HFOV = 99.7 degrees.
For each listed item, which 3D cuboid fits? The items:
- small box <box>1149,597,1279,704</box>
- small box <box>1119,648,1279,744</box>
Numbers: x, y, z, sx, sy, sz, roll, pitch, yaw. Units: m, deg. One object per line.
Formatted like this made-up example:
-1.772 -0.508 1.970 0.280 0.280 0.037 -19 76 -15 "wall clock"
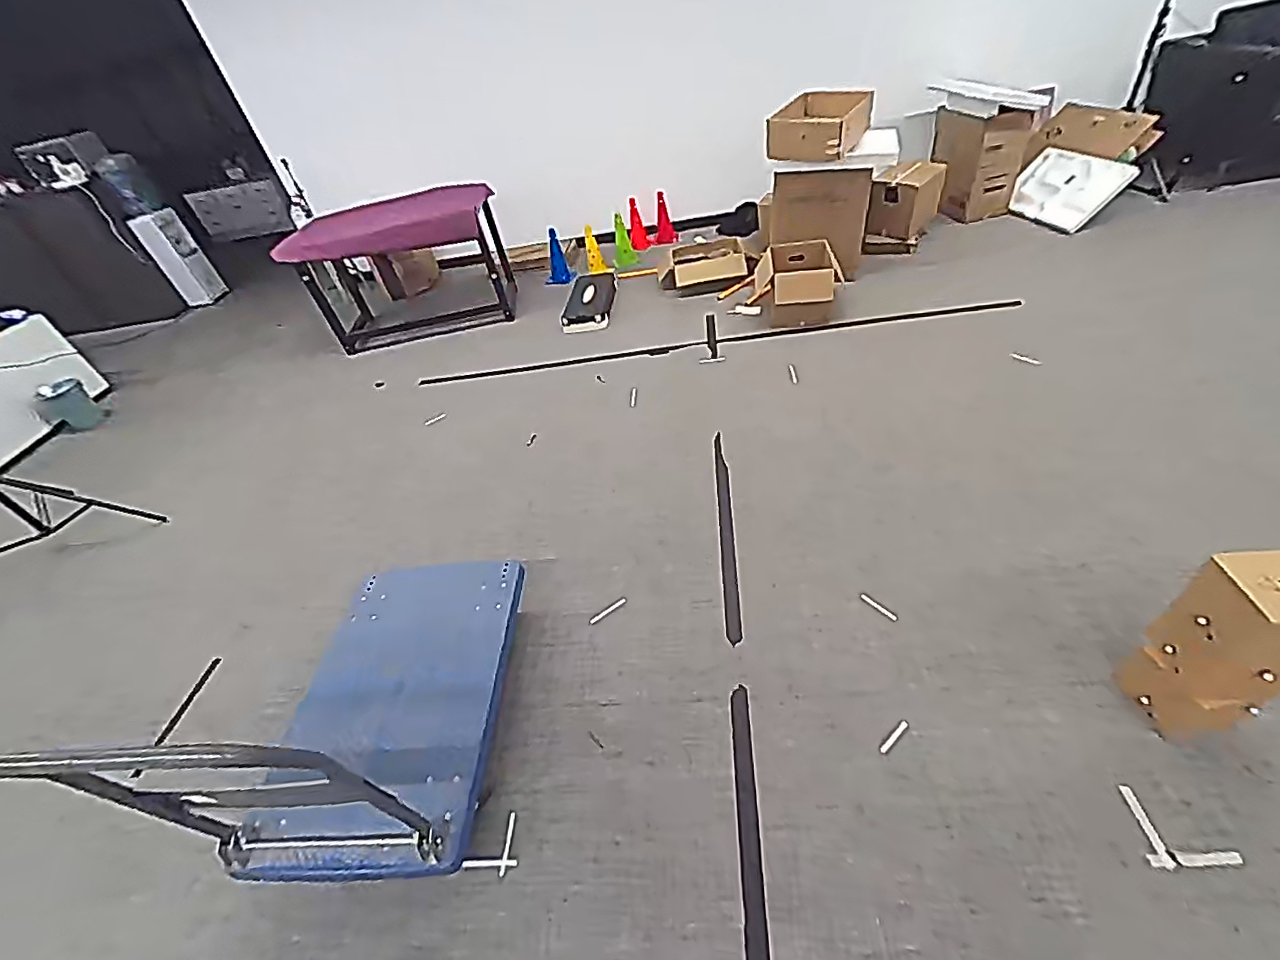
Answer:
1.296 0.376 1.188 0.179 0.176 0.168 -5 42 9 "small box"
1.315 0.501 1.291 0.179 0.176 0.168 -13 40 -1 "small box"
